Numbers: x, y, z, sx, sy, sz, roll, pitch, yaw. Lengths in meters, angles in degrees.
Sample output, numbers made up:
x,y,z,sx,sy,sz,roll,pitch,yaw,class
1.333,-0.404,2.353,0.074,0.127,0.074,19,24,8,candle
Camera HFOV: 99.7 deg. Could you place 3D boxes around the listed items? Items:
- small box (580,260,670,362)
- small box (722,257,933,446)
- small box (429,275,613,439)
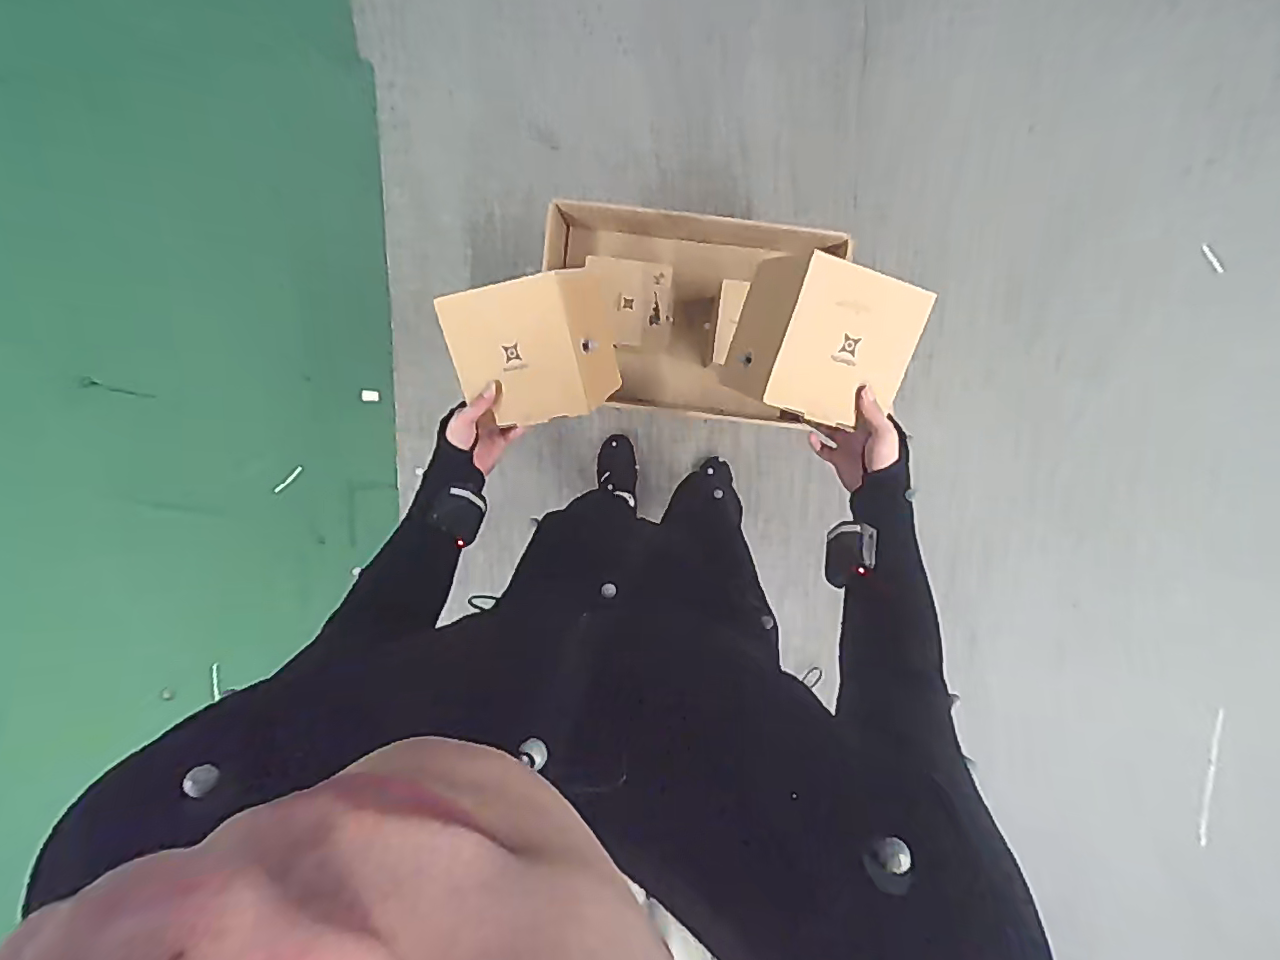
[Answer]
x,y,z,sx,sy,sz,roll,pitch,yaw,class
-0.035,-0.349,1.144,0.179,0.176,0.168,9,97,1,small box
0.220,-0.164,0.690,0.168,0.176,0.179,14,104,-15,small box
-0.146,-0.172,0.732,0.168,0.176,0.179,-8,111,14,small box
